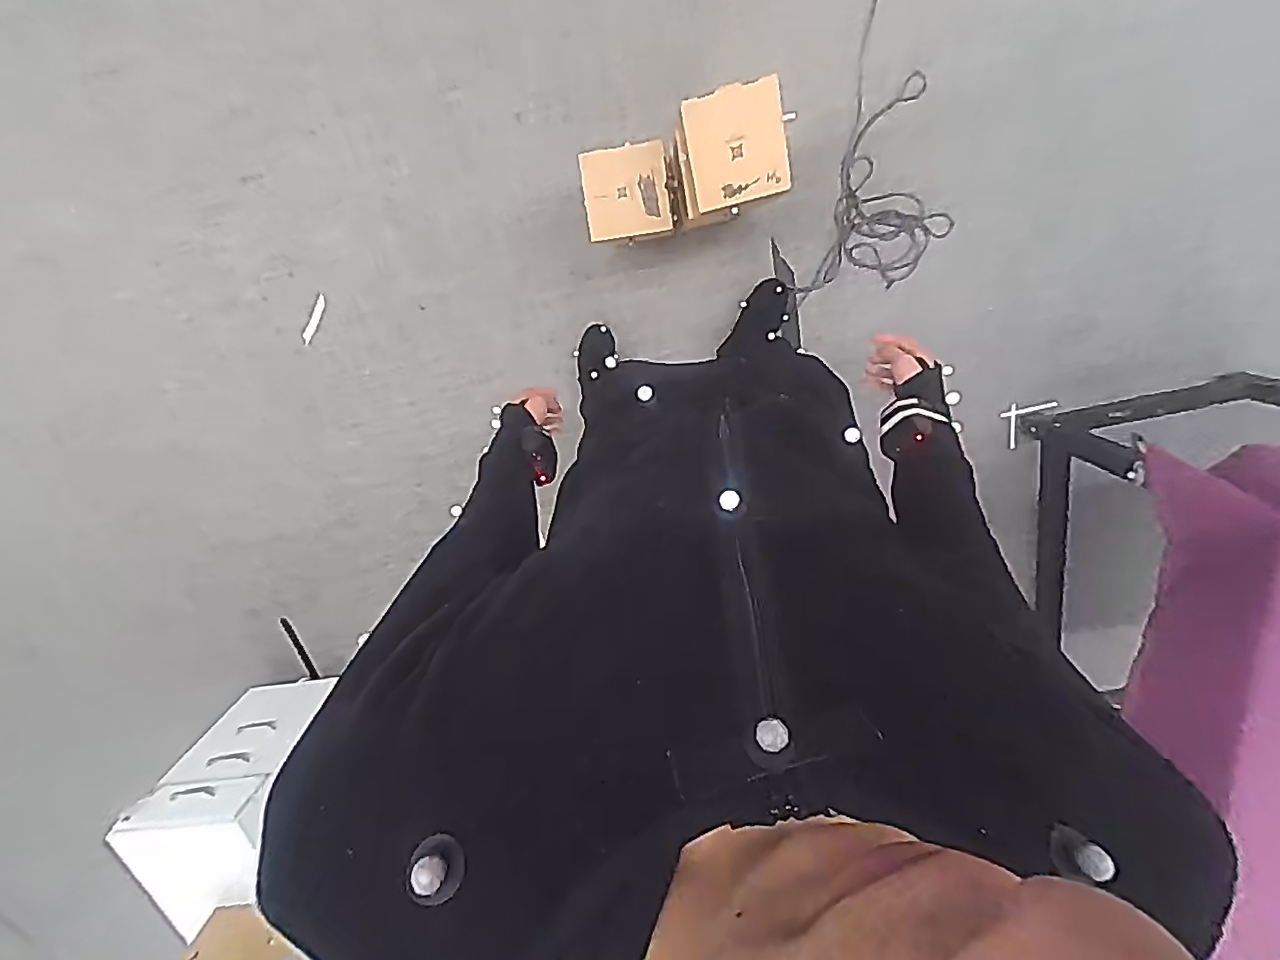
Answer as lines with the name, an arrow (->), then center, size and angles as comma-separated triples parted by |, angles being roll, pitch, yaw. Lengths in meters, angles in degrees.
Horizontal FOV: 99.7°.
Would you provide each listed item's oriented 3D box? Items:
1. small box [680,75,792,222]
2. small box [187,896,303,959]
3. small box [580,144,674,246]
small box -> 0.169, -0.589, 0.987 | 0.168, 0.176, 0.179 | -11, 109, 8
small box -> -1.112, 1.321, 1.532 | 0.179, 0.176, 0.168 | -10, 111, 8
small box -> -0.019, -0.606, 1.168 | 0.179, 0.176, 0.168 | -5, 110, 8
